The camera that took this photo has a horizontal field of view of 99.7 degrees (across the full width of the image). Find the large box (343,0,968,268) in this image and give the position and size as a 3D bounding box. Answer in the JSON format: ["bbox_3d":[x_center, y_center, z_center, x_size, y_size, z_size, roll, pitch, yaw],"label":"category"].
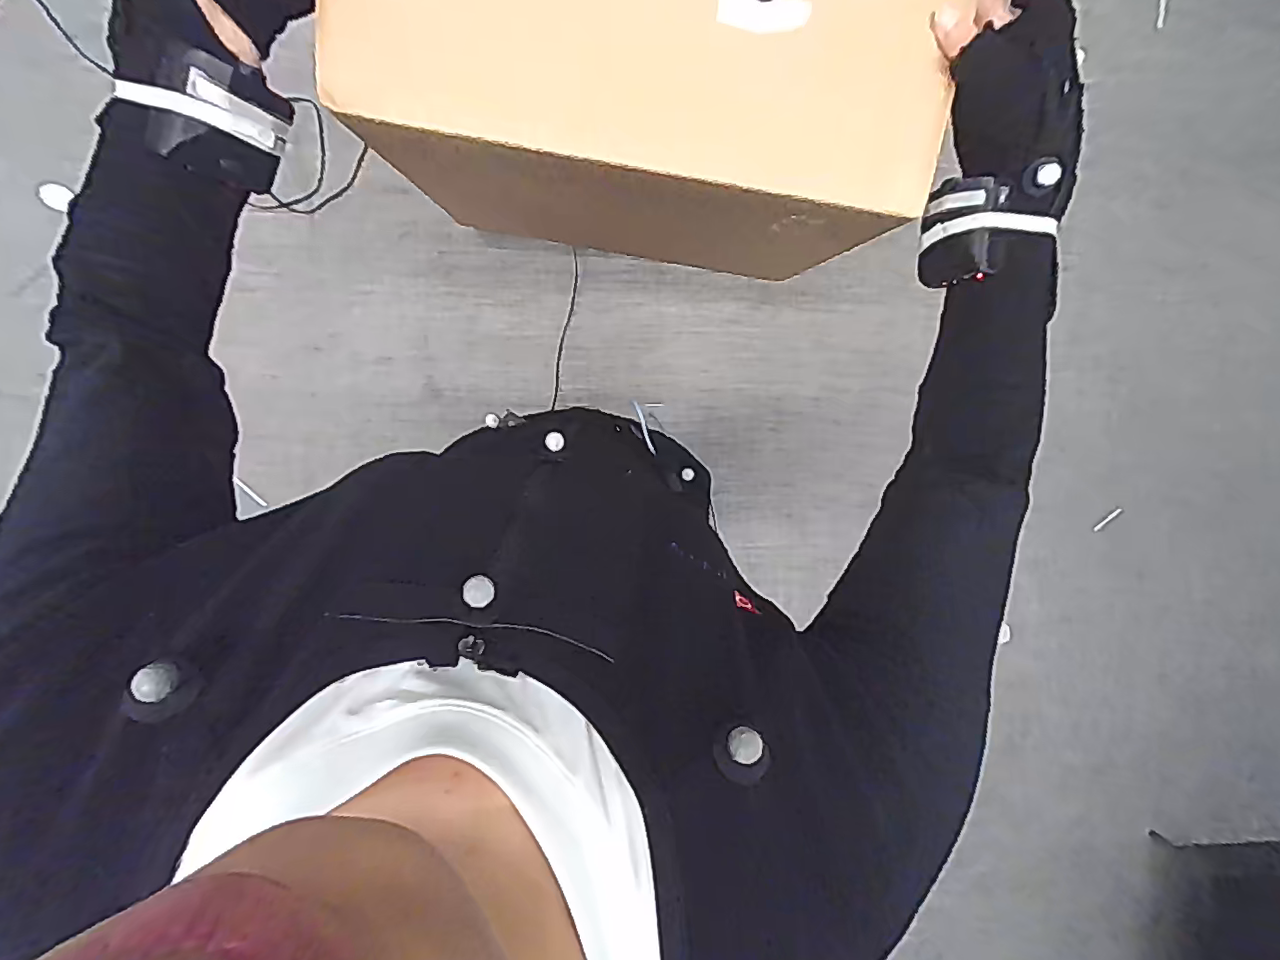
[{"bbox_3d":[0.013,-0.399,0.478,0.408,0.320,0.320,7,103,-6],"label":"large box"}]
